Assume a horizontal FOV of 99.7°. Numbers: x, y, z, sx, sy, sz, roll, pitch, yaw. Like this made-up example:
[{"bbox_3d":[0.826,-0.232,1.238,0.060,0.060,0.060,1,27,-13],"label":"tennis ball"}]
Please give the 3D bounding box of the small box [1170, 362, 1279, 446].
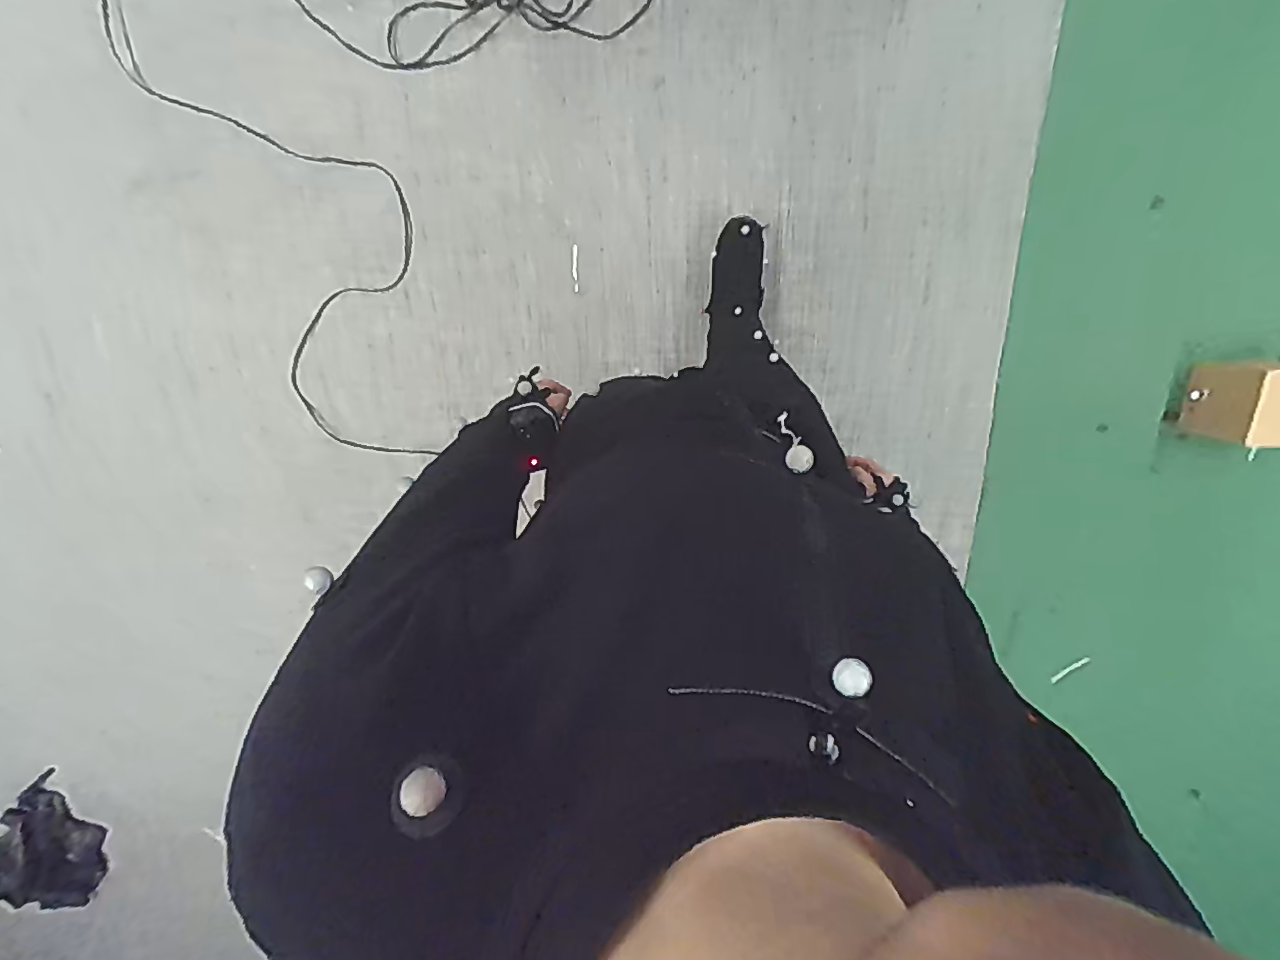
[{"bbox_3d":[1.376,-0.176,1.219,0.179,0.176,0.168,-2,106,2],"label":"small box"}]
